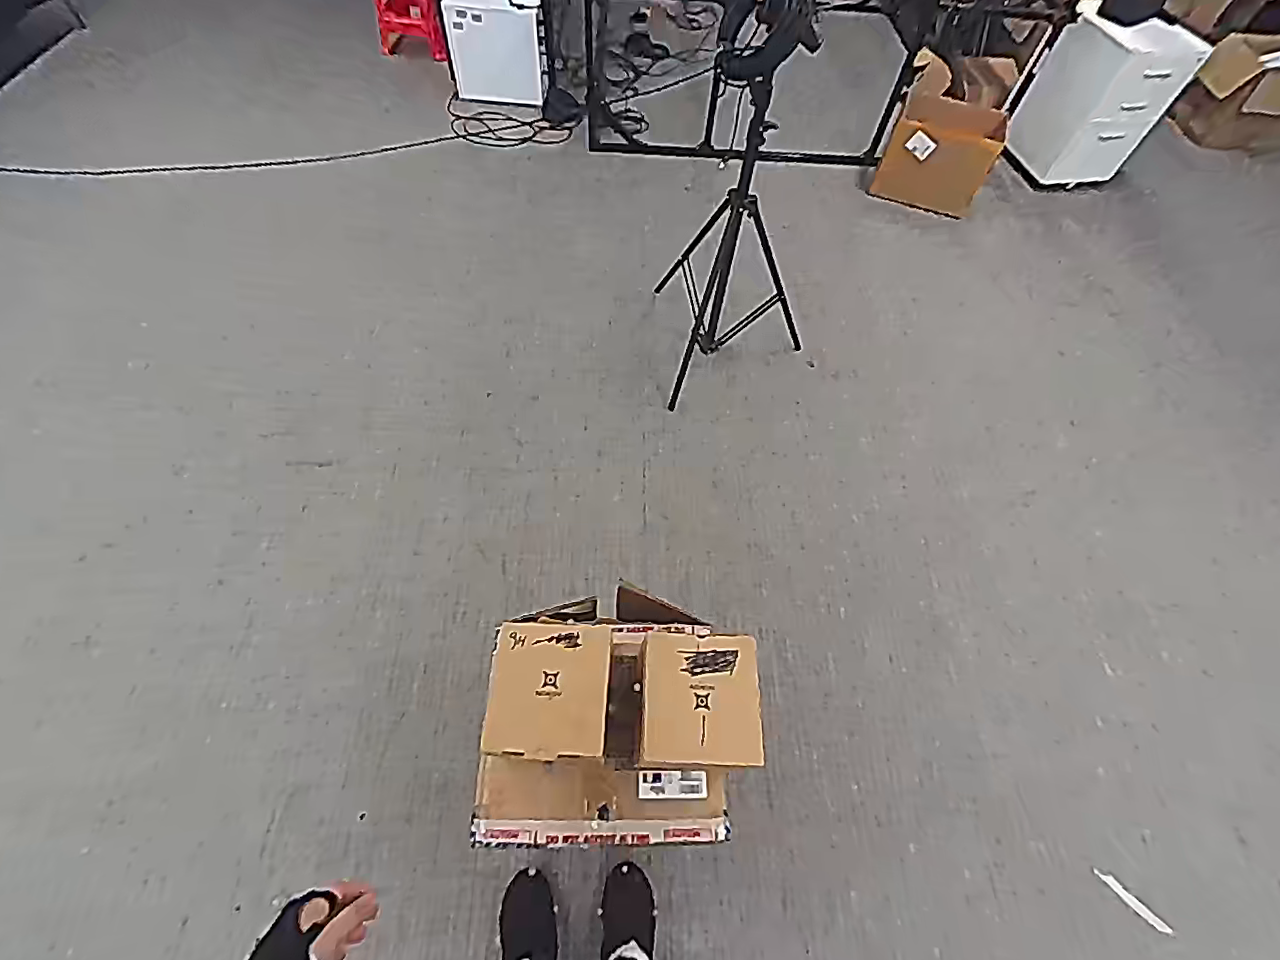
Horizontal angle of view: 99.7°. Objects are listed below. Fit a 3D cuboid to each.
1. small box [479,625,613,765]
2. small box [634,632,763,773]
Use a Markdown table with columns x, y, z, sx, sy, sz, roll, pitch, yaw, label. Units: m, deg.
| x | y | z | sx | sy | sz | roll | pitch | yaw | label |
| --- | --- | --- | --- | --- | --- | --- | --- | --- | --- |
| -0.129 | 0.331 | 0.823 | 0.168 | 0.176 | 0.179 | 3 | 61 | 0 | small box |
| 0.080 | 0.346 | 0.830 | 0.168 | 0.176 | 0.179 | 4 | 60 | -3 | small box |
